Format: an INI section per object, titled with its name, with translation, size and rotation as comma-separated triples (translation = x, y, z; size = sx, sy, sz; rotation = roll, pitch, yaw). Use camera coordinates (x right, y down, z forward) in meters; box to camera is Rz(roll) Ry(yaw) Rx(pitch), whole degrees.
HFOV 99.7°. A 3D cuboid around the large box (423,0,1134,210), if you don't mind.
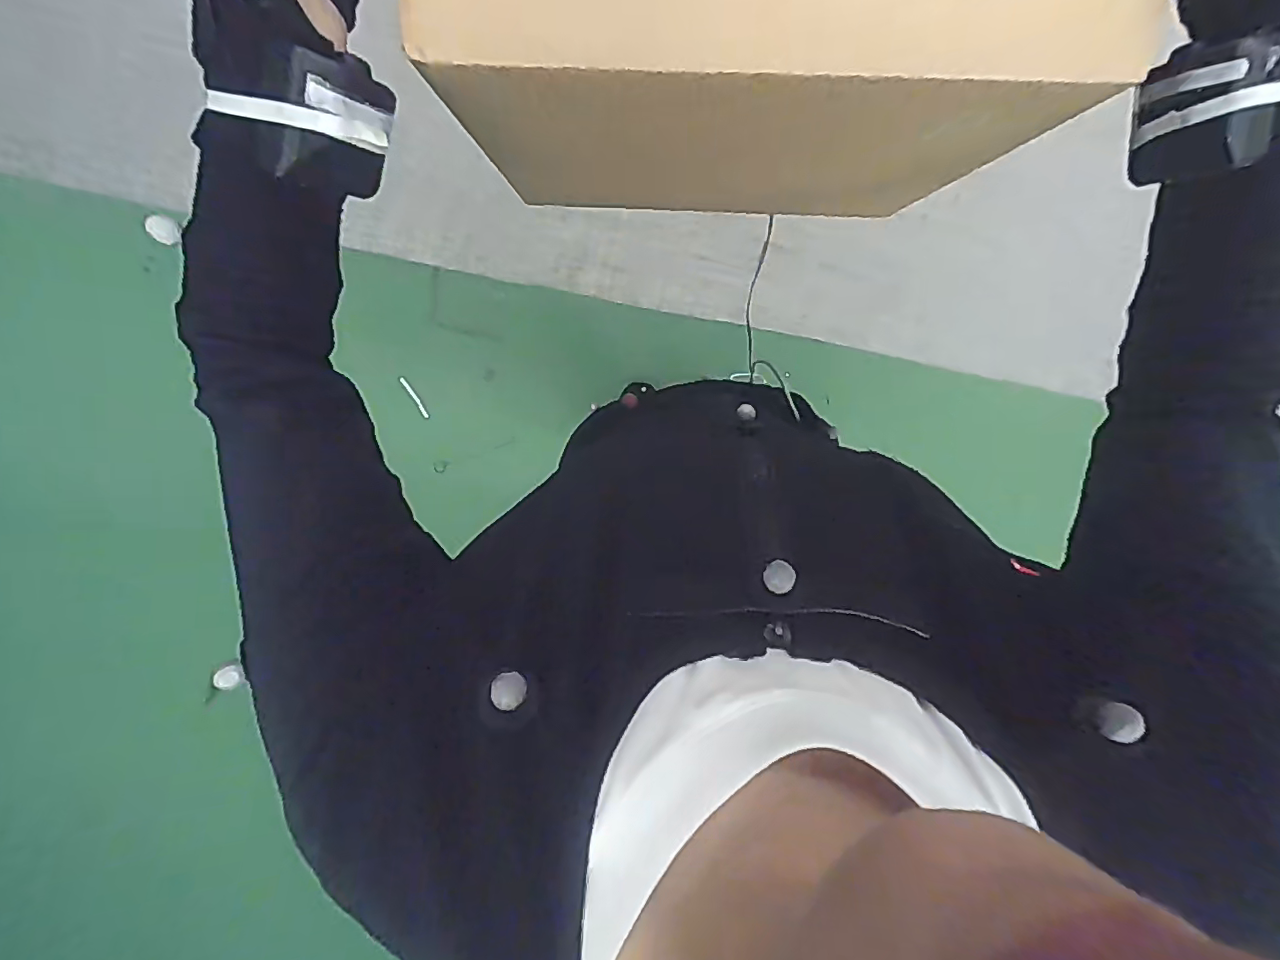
[large box]
translation = 0.077, -0.413, 0.418
size = 0.408, 0.320, 0.320
rotation = 2, 104, 0
